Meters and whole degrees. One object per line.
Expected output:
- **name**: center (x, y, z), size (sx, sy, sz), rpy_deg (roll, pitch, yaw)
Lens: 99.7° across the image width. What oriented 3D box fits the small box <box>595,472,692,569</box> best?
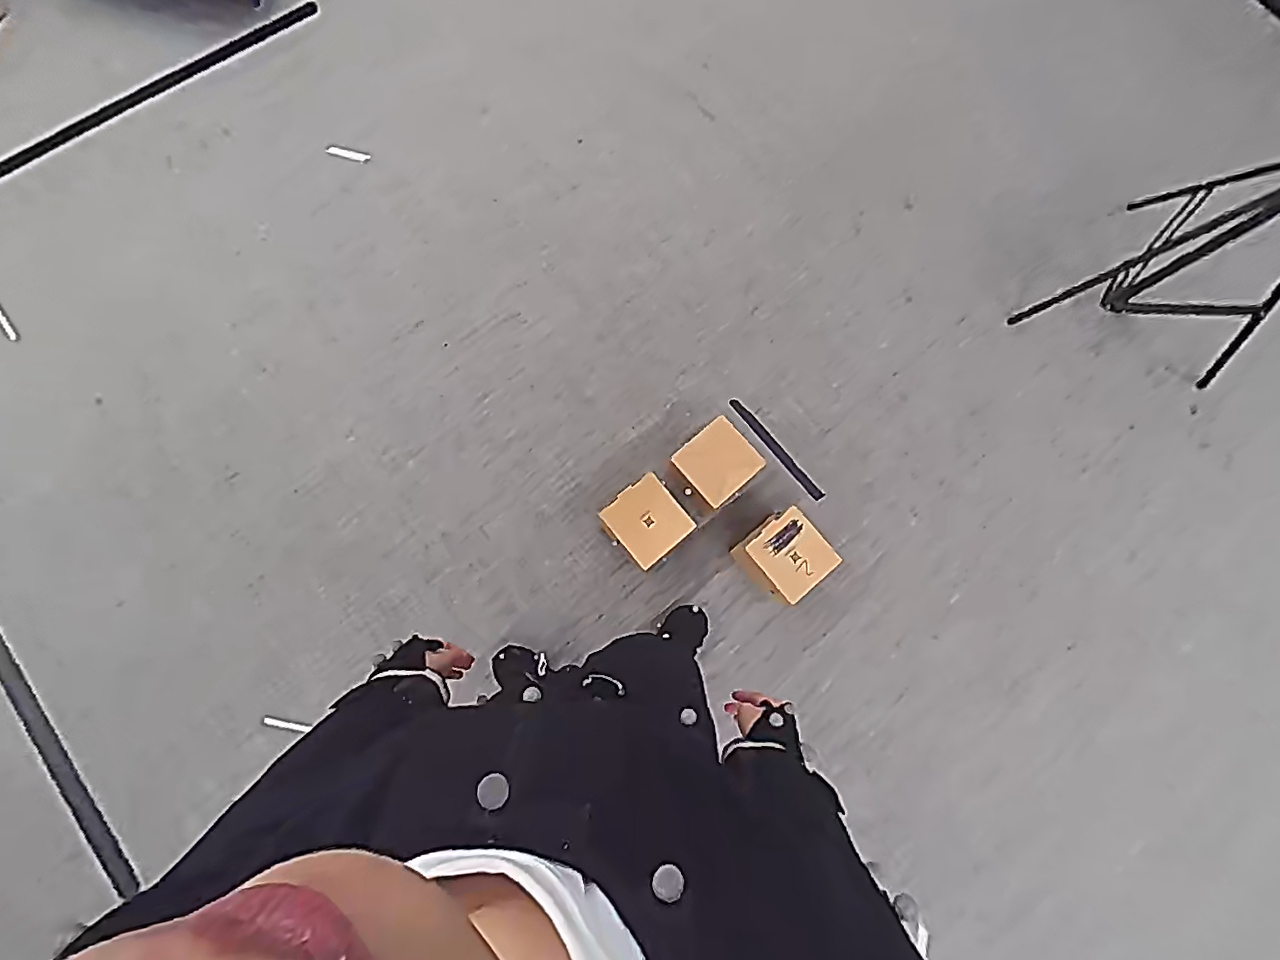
- **small box**: center (0.006, 0.107, 1.358), size (0.168, 0.176, 0.179), rpy_deg (-39, 83, -10)
